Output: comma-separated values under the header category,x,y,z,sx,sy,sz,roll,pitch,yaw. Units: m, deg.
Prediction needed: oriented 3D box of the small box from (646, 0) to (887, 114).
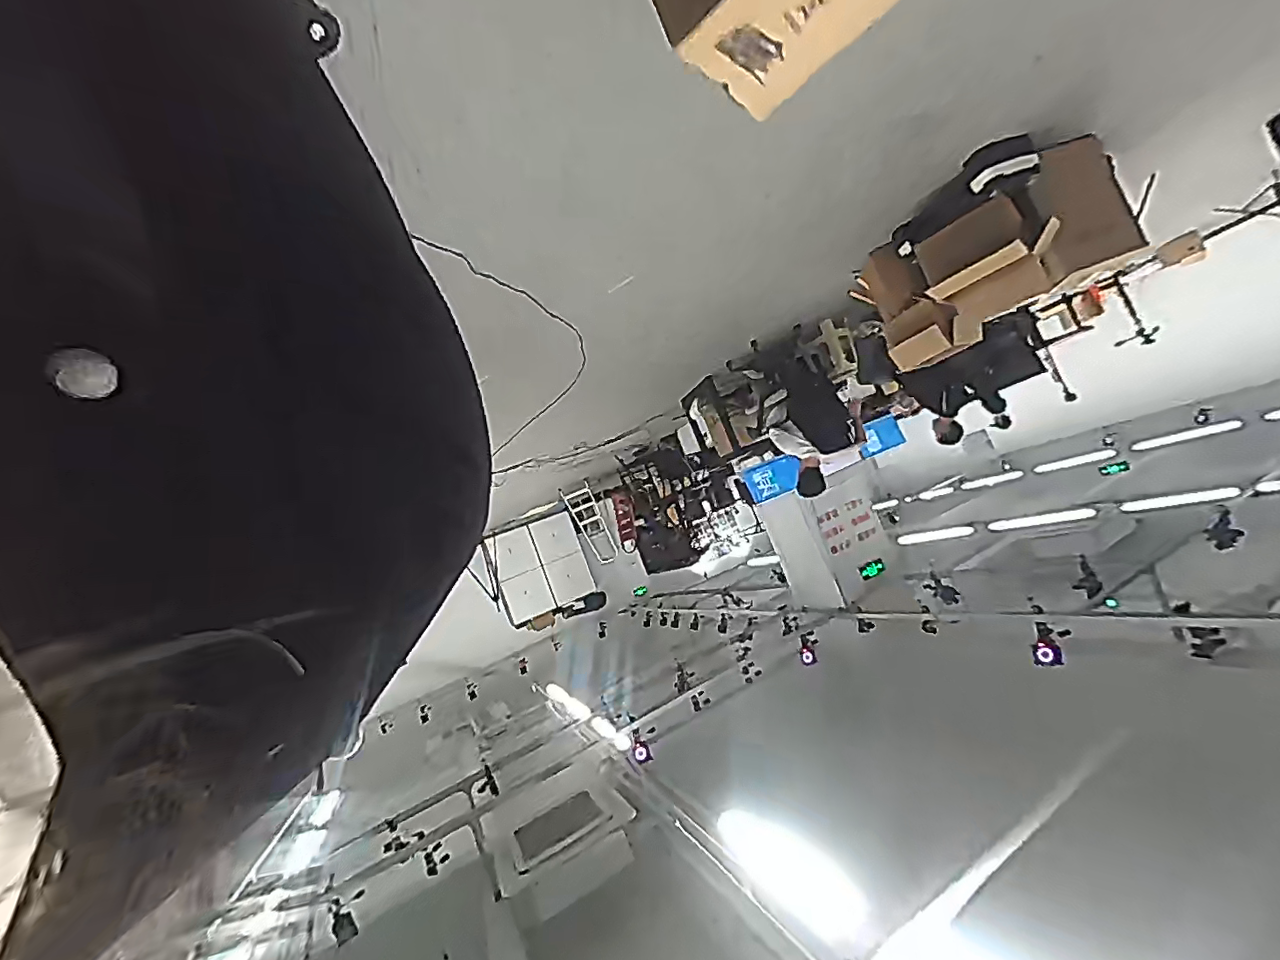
category,x,y,z,sx,sy,sz,roll,pitch,yaw
small box,0.101,-0.476,0.463,0.179,0.176,0.168,-23,175,42
